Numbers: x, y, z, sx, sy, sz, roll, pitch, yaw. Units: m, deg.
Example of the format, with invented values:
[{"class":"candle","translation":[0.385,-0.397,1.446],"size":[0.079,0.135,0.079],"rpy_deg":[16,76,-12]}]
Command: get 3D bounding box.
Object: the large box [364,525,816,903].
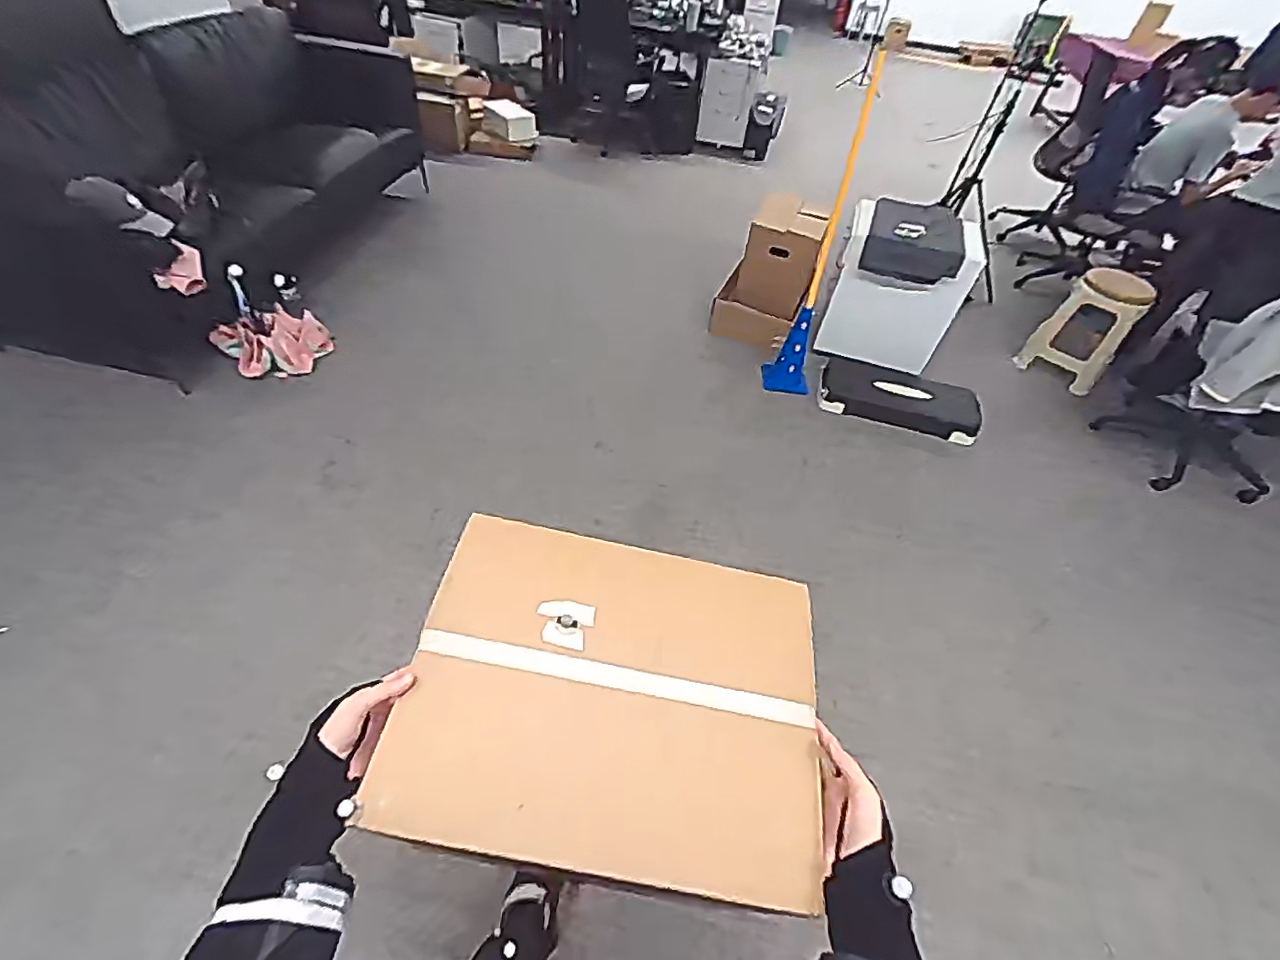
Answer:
[{"class":"large box","translation":[-0.040,0.297,0.670],"size":[0.408,0.320,0.320],"rpy_deg":[12,51,-1]}]
